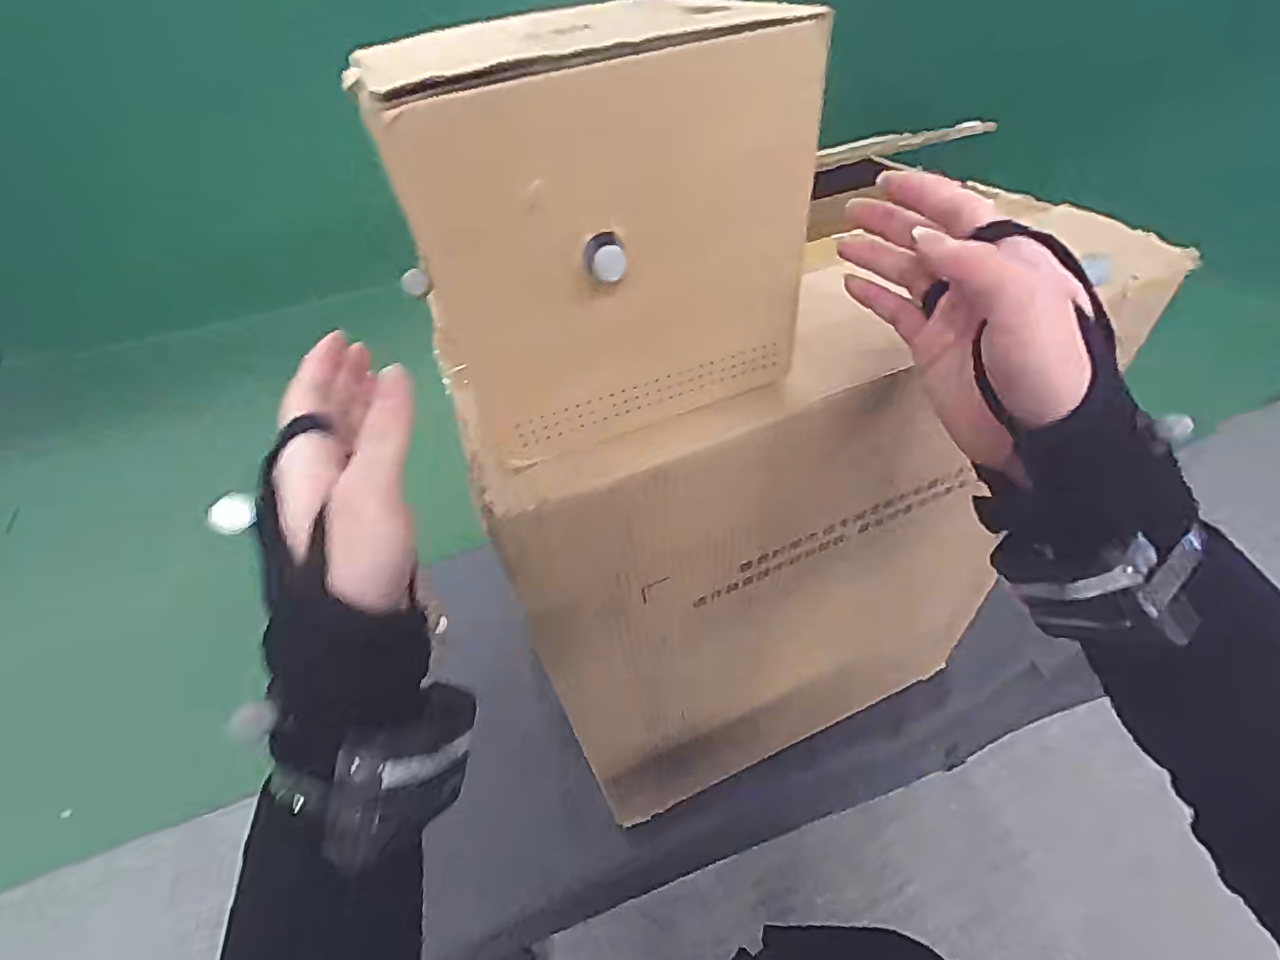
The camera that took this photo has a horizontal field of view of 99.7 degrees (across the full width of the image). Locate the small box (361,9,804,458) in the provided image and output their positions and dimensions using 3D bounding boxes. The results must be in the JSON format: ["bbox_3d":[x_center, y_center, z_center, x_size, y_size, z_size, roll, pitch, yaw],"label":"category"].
[{"bbox_3d":[-0.030,-0.139,0.308,0.179,0.176,0.168,-21,47,-10],"label":"small box"}]
